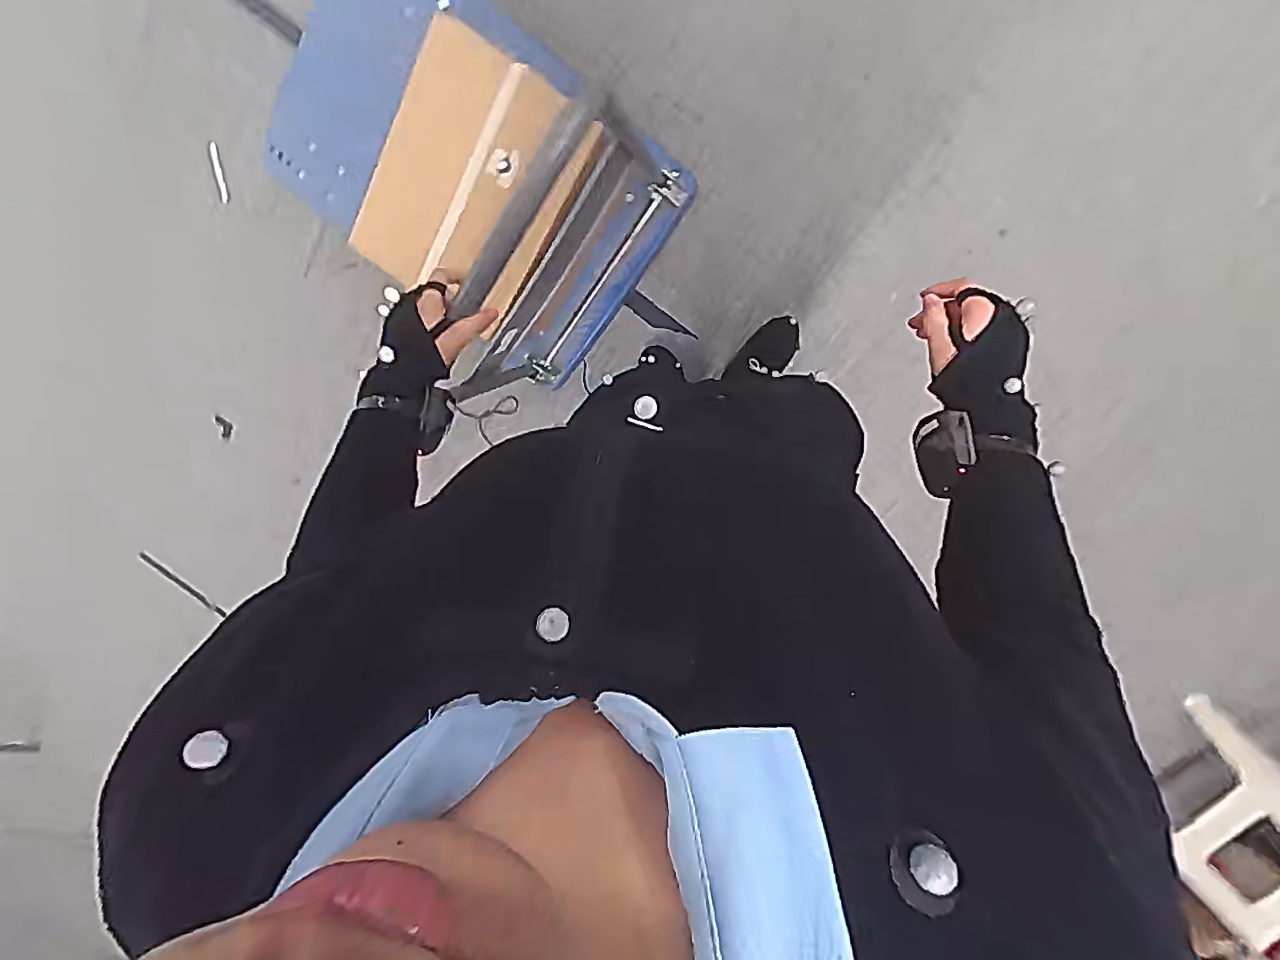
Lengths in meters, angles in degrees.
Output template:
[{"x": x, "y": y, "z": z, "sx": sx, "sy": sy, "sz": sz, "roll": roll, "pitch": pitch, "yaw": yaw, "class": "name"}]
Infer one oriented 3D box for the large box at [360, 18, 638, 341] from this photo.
[{"x": -0.256, "y": -0.532, "z": 1.058, "sx": 0.320, "sy": 0.320, "sz": 0.408, "roll": 35, "pitch": 110, "yaw": -3, "class": "large box"}]
